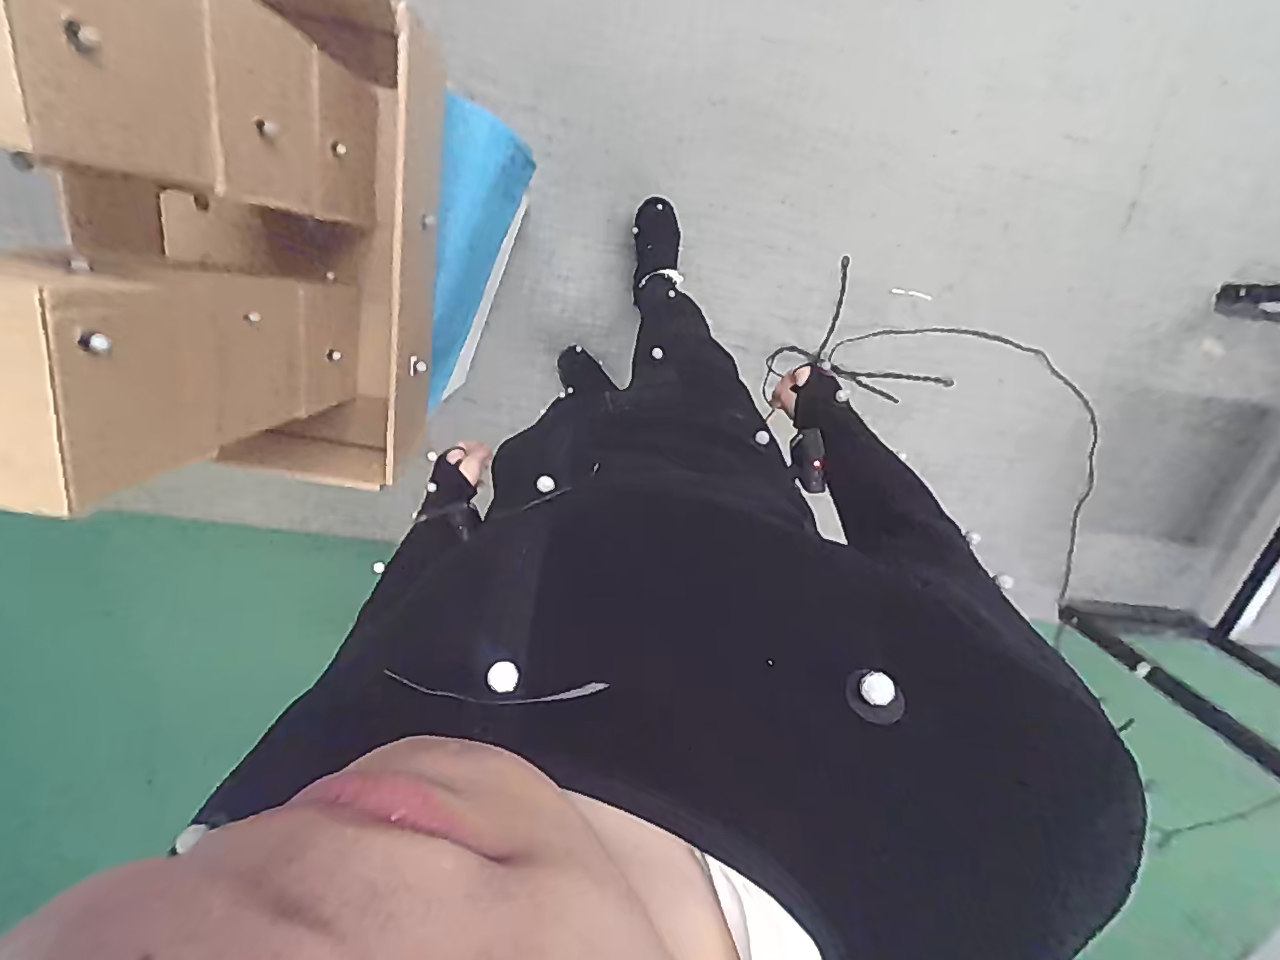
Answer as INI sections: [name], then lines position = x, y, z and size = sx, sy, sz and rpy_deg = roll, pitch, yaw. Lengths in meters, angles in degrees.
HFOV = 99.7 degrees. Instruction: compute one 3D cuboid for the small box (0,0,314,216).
[small box]
position = -0.450, -0.373, 0.538
size = 0.168, 0.176, 0.179
rpy_deg = 7, 112, -6
